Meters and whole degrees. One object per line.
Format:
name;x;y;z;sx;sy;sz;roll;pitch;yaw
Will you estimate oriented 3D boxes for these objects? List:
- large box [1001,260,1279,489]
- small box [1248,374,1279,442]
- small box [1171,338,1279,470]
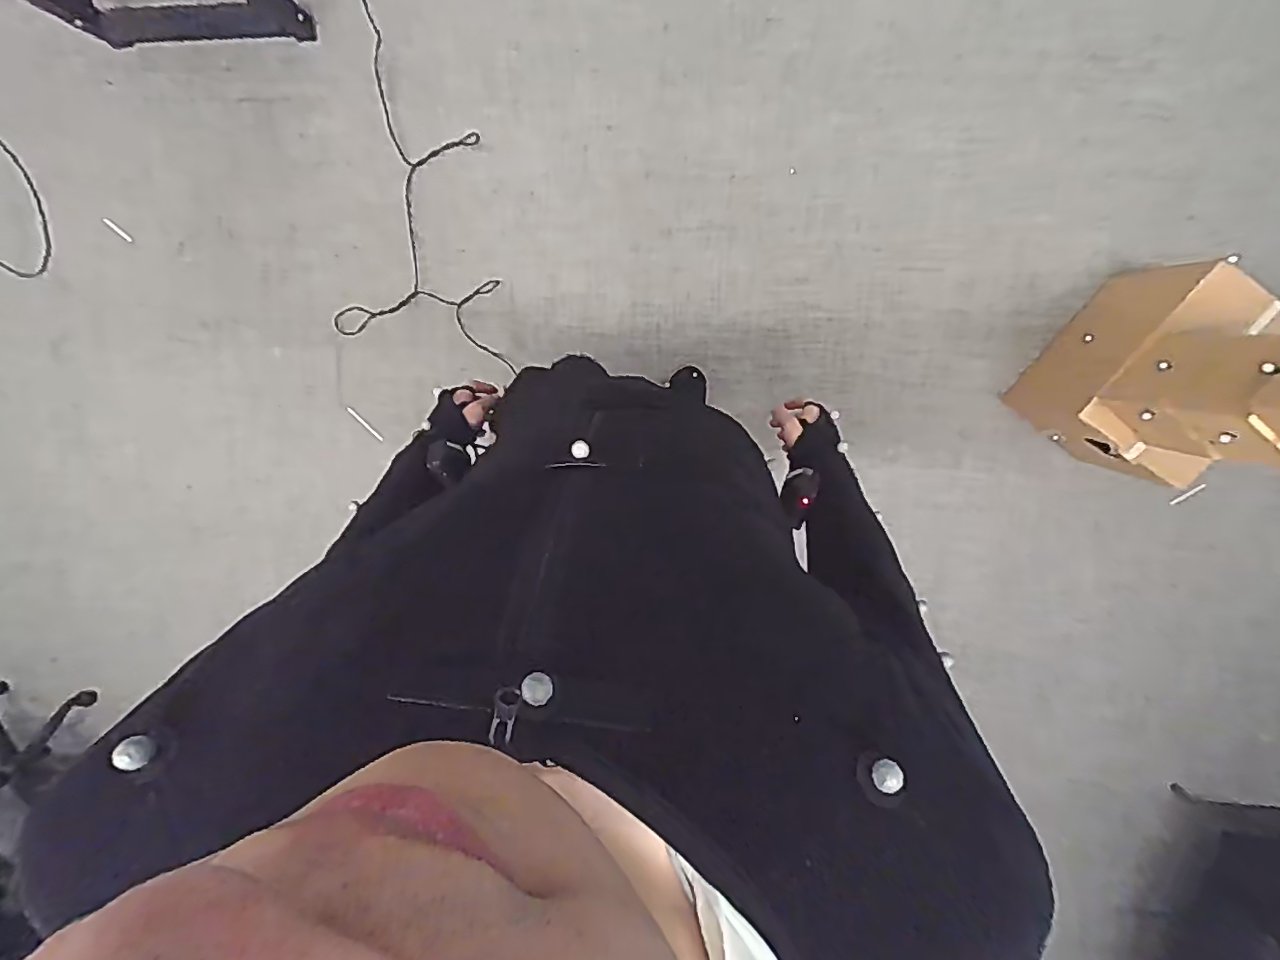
large box;1.217;-0.252;1.323;0.320;0.320;0.408;33;104;-6
small box;1.079;-0.104;0.780;0.179;0.176;0.168;39;102;-6
small box;1.099;-0.129;0.942;0.168;0.176;0.179;38;103;-4
